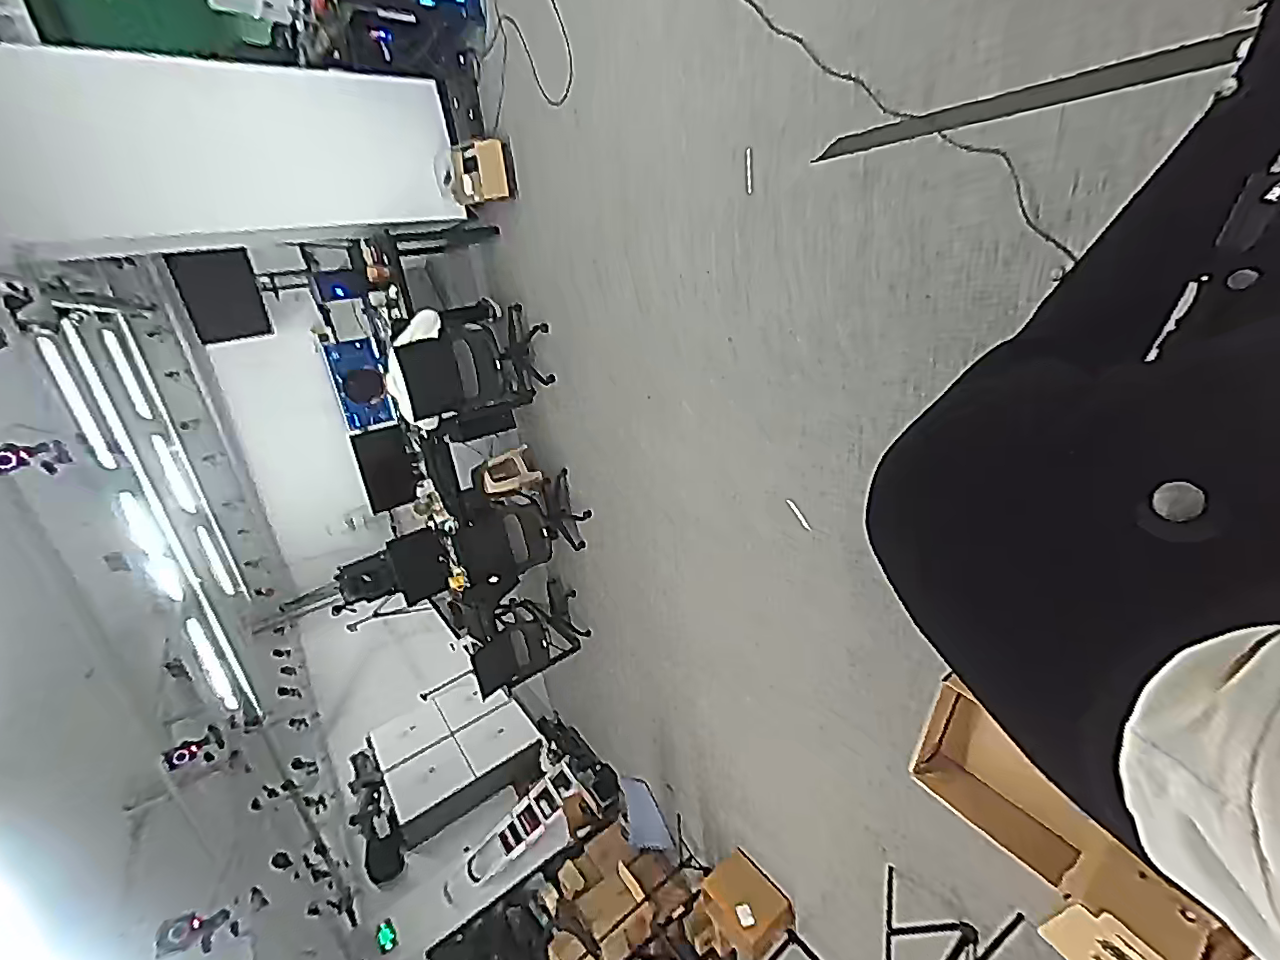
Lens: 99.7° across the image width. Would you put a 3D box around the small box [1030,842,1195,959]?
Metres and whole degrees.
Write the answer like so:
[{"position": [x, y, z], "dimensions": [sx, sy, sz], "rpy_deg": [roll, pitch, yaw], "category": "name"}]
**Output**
[{"position": [0.909, 0.849, 1.040], "dimensions": [0.168, 0.176, 0.179], "rpy_deg": [39, 140, 39], "category": "small box"}]
